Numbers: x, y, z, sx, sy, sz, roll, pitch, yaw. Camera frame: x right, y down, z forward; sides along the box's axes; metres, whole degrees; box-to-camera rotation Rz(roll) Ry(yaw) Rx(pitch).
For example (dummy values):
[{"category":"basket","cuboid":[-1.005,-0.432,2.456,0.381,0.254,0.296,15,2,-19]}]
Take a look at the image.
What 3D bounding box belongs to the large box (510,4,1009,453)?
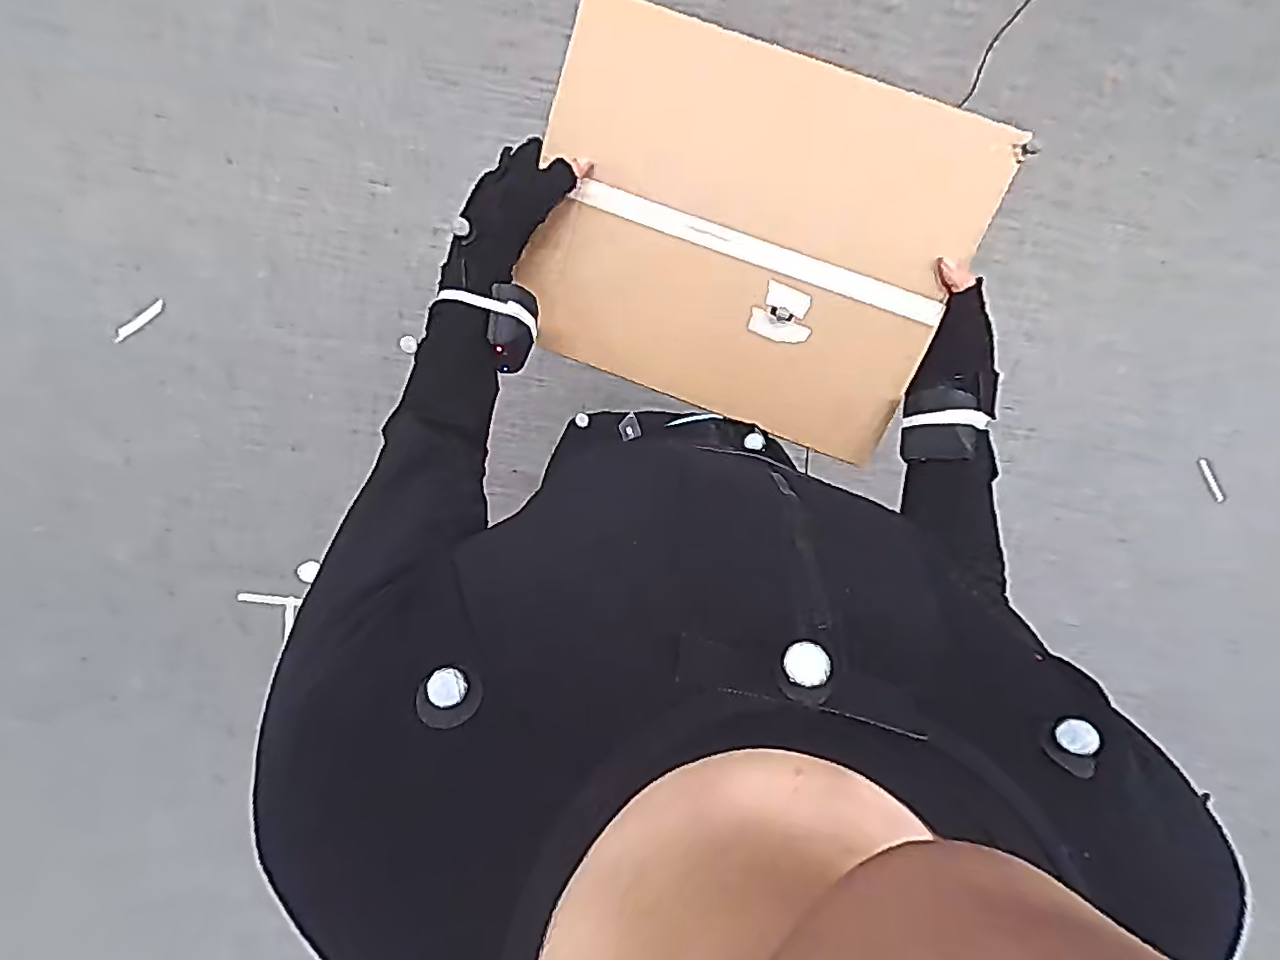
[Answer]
[{"category":"large box","cuboid":[0.110,-0.271,0.665,0.408,0.320,0.320,20,110,2]}]
